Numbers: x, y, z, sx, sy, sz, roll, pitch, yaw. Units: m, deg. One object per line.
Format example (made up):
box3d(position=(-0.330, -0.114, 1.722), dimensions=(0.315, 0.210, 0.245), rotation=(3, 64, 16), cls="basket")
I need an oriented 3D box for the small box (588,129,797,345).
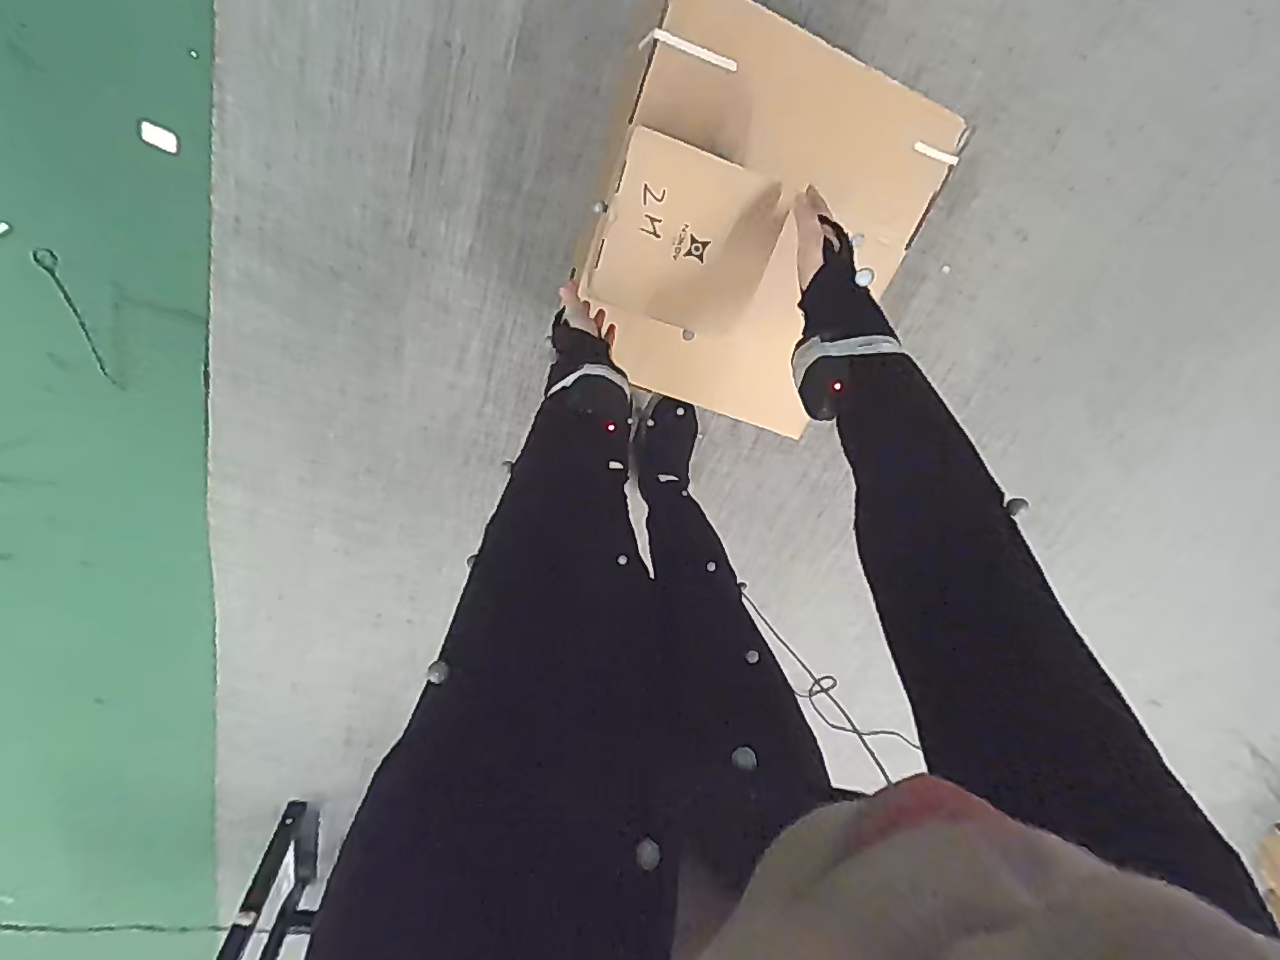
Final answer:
box3d(position=(0.046, -0.279, 0.628), dimensions=(0.179, 0.176, 0.168), rotation=(15, 116, -12), cls="small box")
